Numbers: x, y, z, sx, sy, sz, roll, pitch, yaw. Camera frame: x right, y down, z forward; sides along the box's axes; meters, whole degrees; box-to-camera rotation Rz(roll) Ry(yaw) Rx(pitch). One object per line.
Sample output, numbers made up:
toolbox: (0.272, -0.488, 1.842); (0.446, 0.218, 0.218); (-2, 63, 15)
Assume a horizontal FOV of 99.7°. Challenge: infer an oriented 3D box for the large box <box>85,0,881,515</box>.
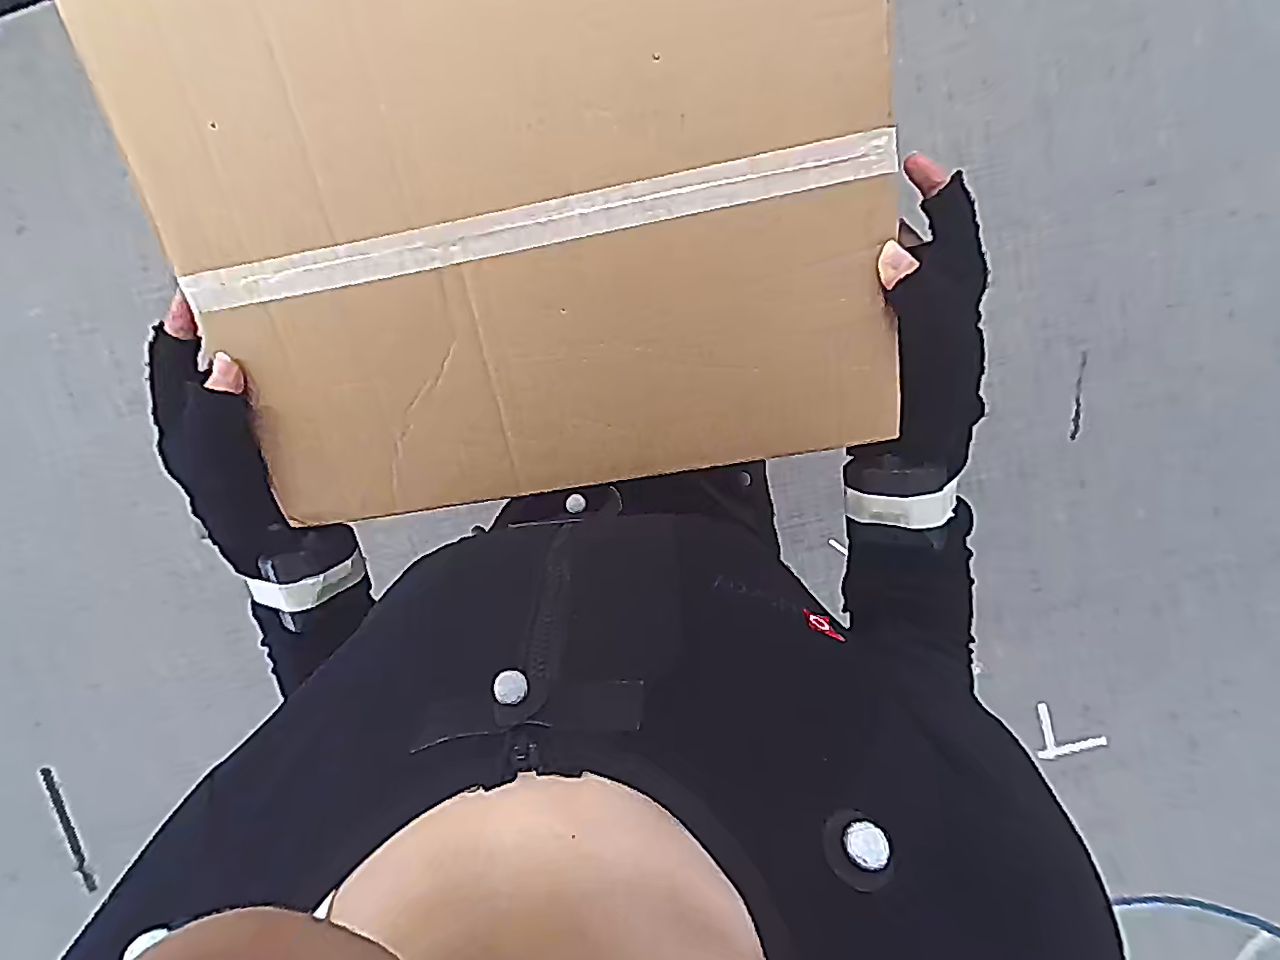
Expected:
large box: (-0.061, -0.199, 0.449); (0.408, 0.320, 0.320); (-8, 109, 6)
